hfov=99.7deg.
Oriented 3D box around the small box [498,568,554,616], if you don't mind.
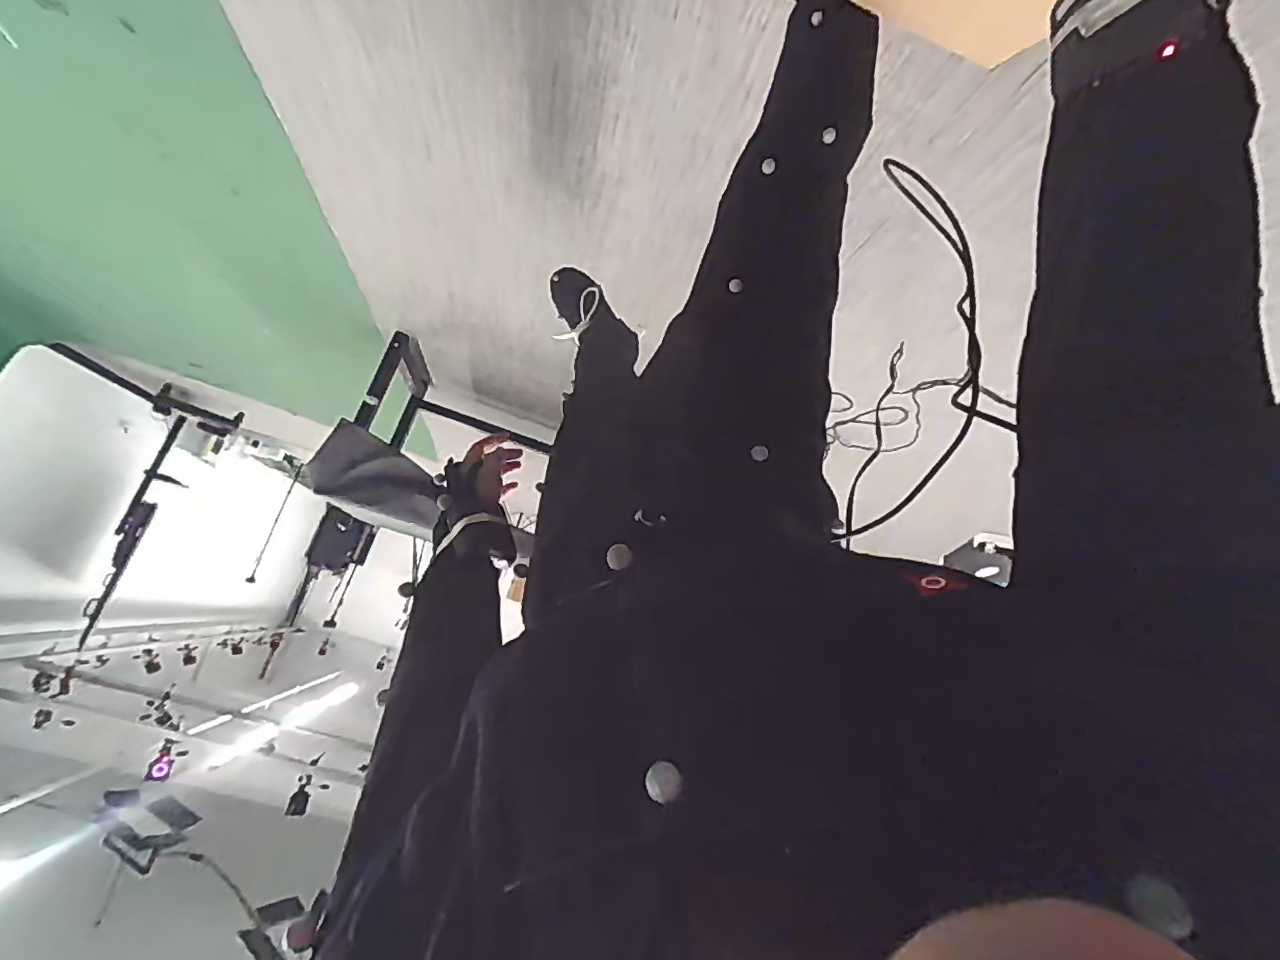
[{"bbox_3d":[-0.492,0.480,2.336,0.179,0.176,0.168,21,163,-17],"label":"small box"}]
